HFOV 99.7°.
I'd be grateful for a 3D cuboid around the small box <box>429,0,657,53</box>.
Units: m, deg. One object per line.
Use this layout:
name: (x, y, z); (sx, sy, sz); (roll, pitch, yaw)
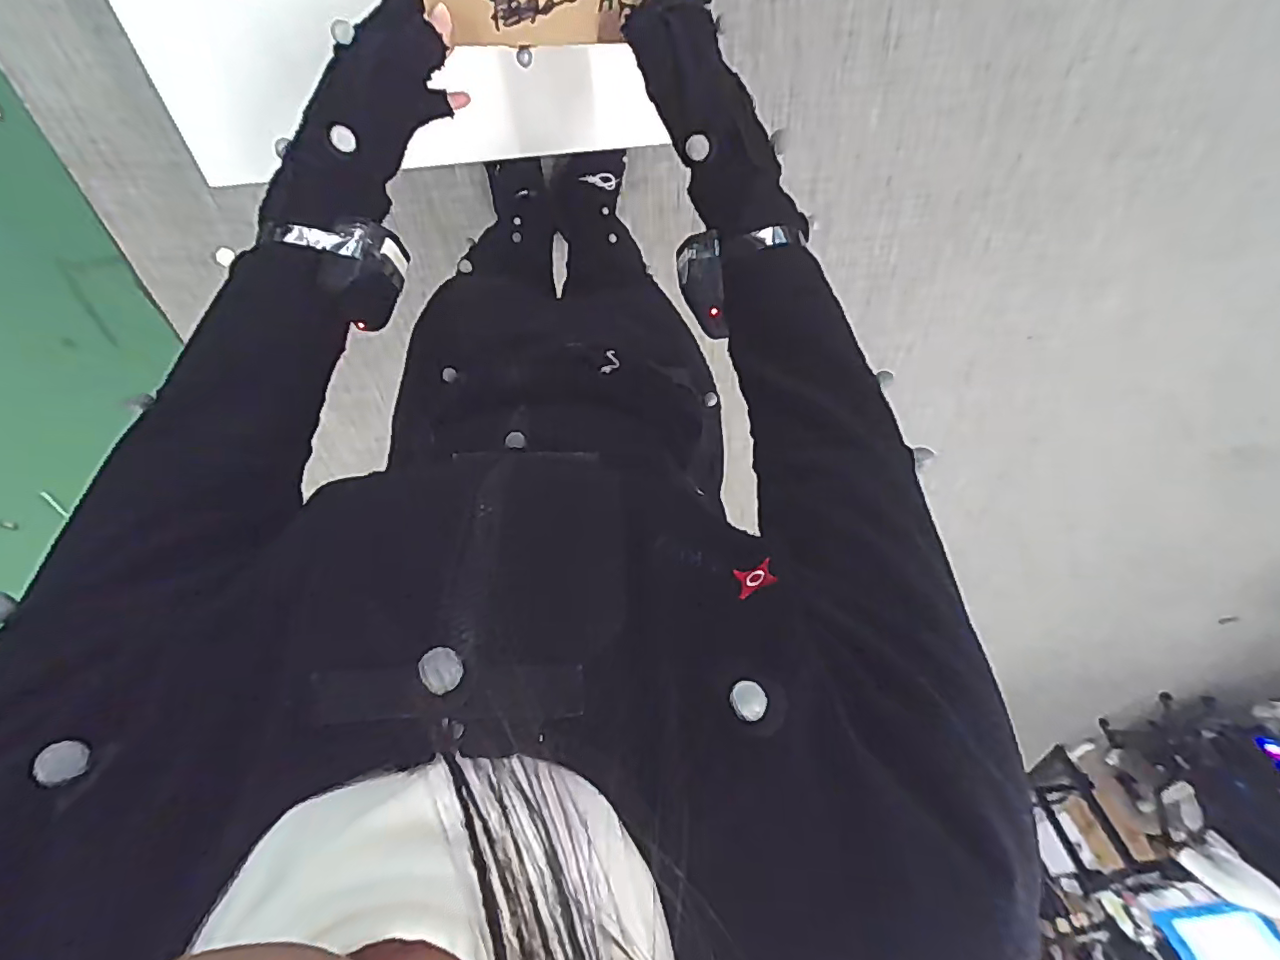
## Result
small box: (-0.076, -0.440, 0.408); (0.168, 0.176, 0.179); (-4, 132, -2)
